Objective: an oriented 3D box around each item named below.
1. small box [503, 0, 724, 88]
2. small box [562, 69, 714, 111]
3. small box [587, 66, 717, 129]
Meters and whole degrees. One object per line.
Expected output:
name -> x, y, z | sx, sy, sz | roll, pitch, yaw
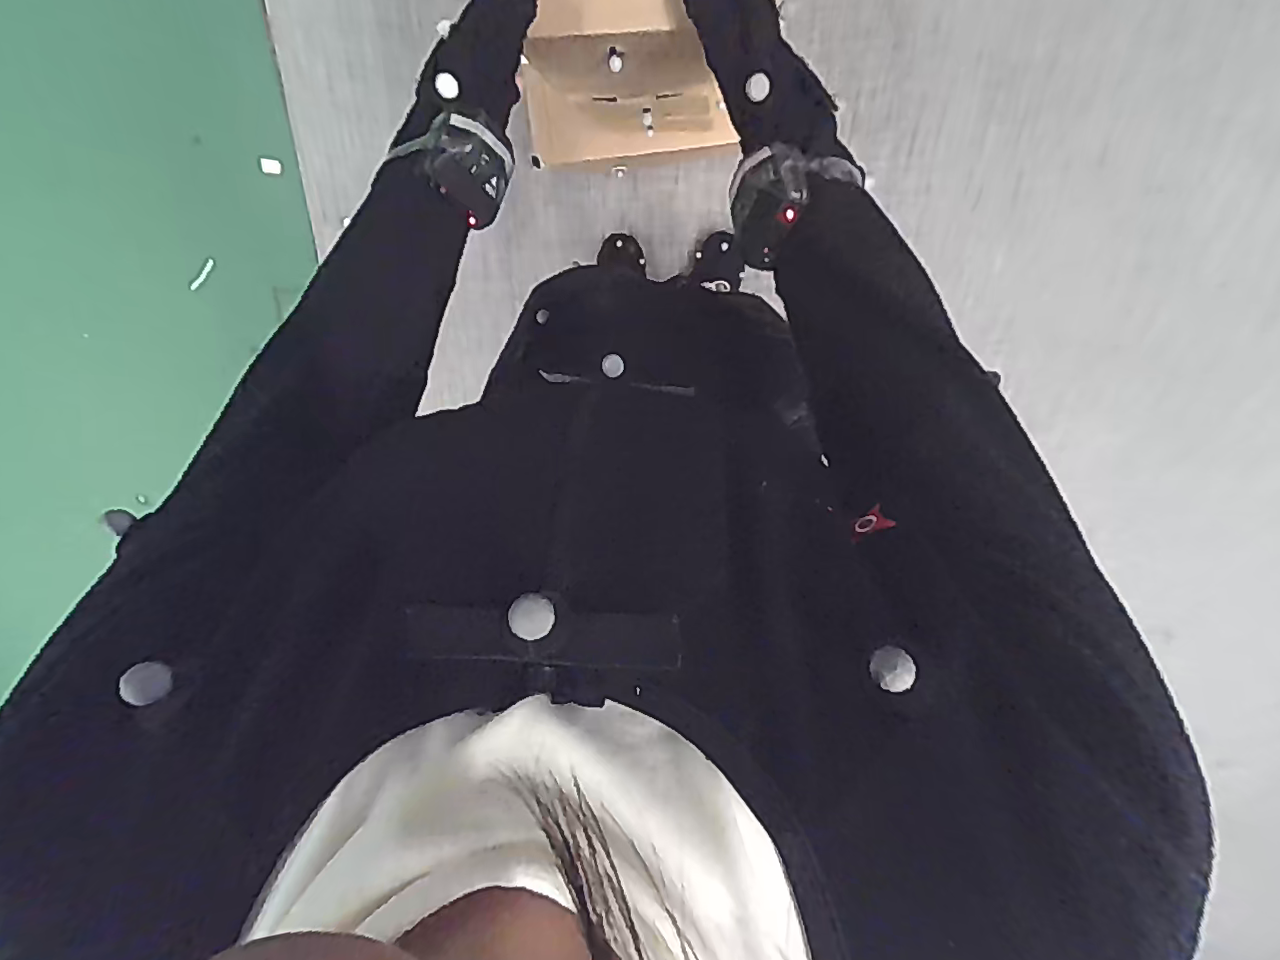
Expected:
small box -> -0.014, -0.462, 0.469 | 0.179, 0.176, 0.168 | 1, 112, 5
small box -> 0.004, -0.539, 0.627 | 0.168, 0.176, 0.179 | 3, 119, 7
small box -> 0.023, -0.609, 0.773 | 0.179, 0.176, 0.168 | 4, 119, 7
